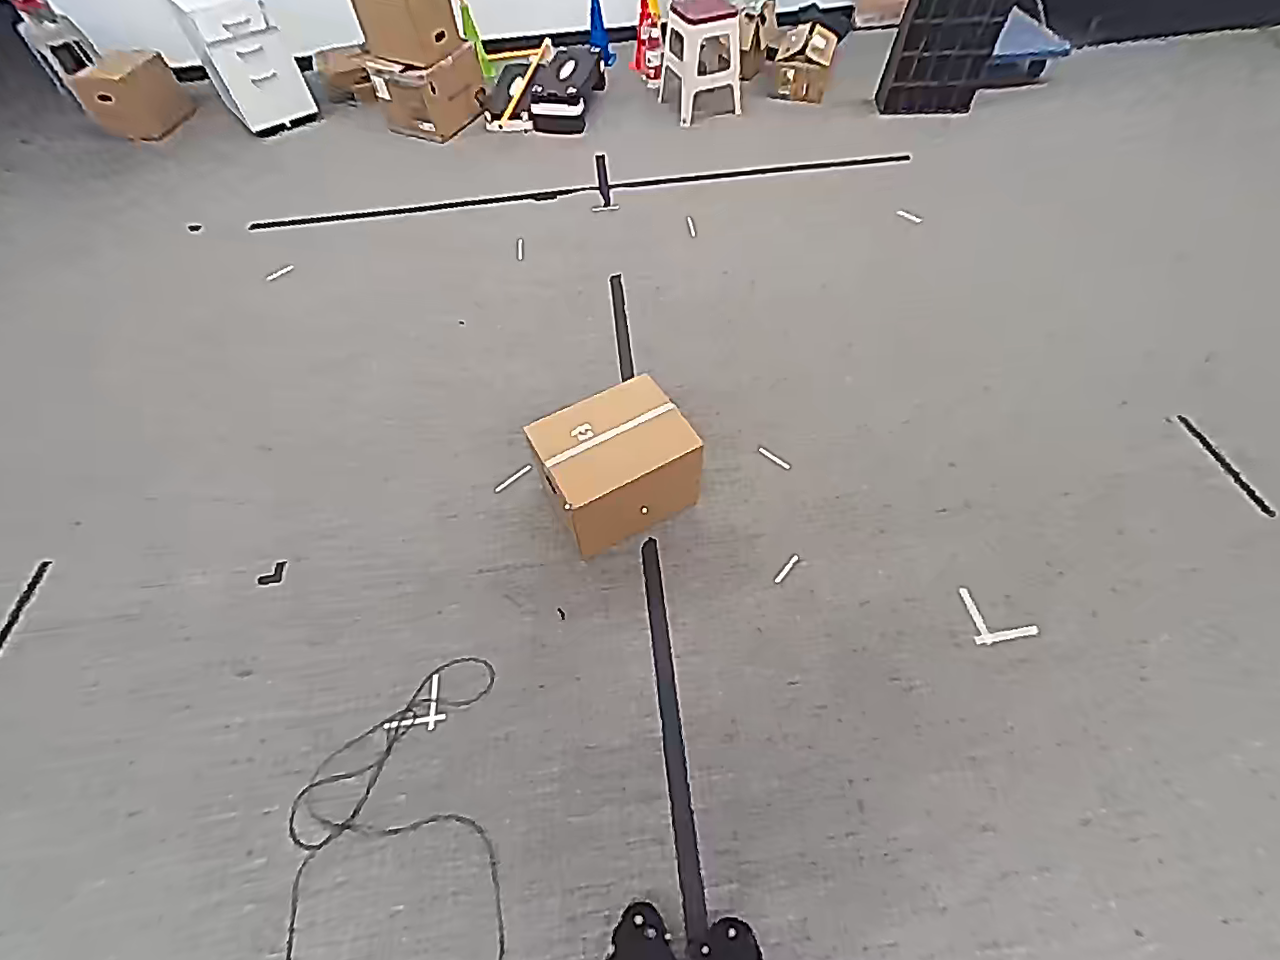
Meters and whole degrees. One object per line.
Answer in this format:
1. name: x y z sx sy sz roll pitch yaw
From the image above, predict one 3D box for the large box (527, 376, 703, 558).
1. large box: -0.066 -0.035 1.615 0.408 0.320 0.320 -27 60 -14
